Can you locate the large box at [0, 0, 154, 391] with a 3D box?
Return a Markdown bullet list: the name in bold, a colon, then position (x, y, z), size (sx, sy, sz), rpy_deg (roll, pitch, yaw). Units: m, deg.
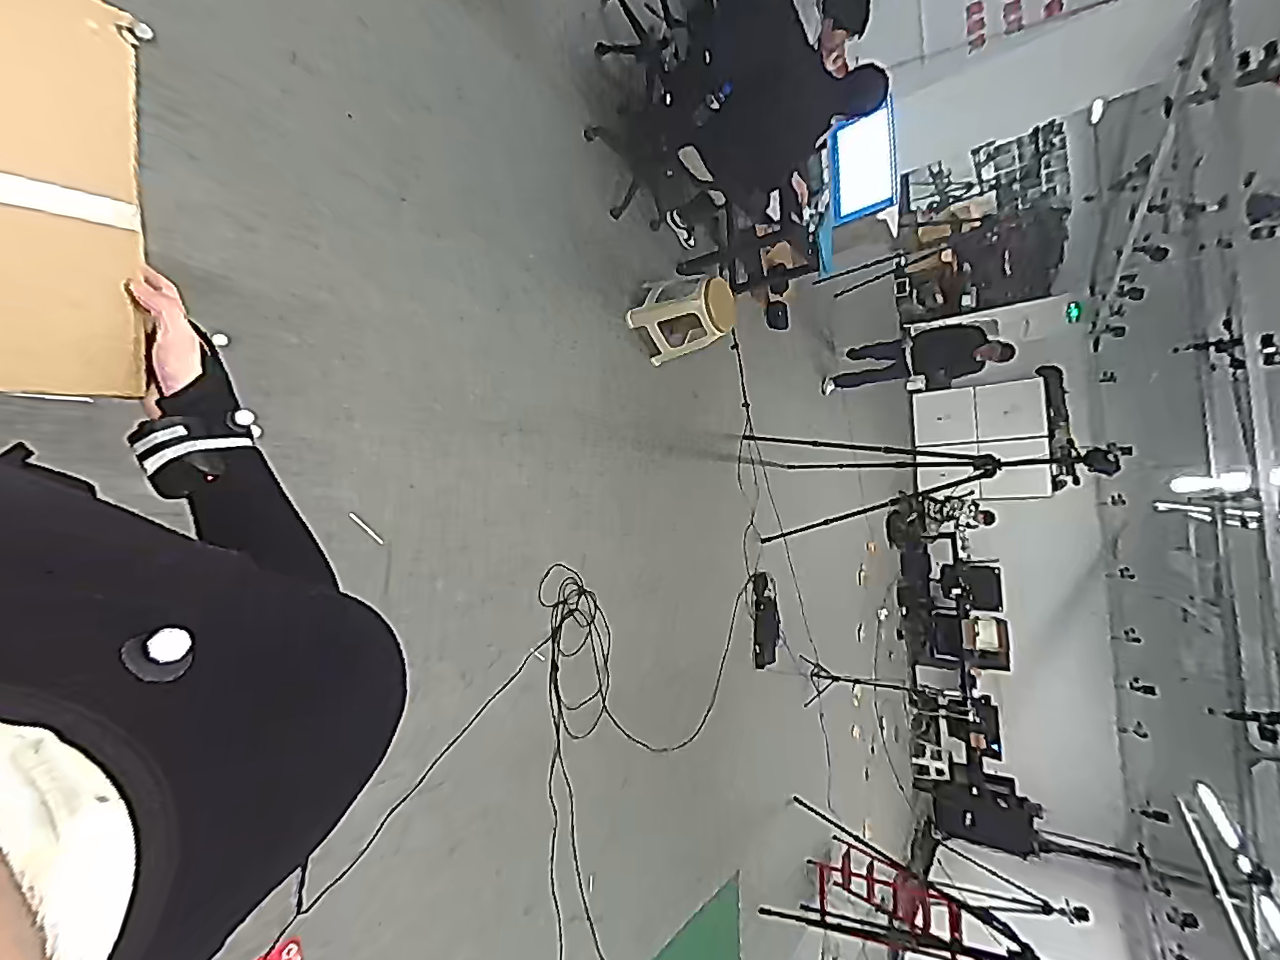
- **large box**: position (-0.684, -0.246, 0.412), size (0.408, 0.320, 0.320), rpy_deg (-9, 112, -52)
